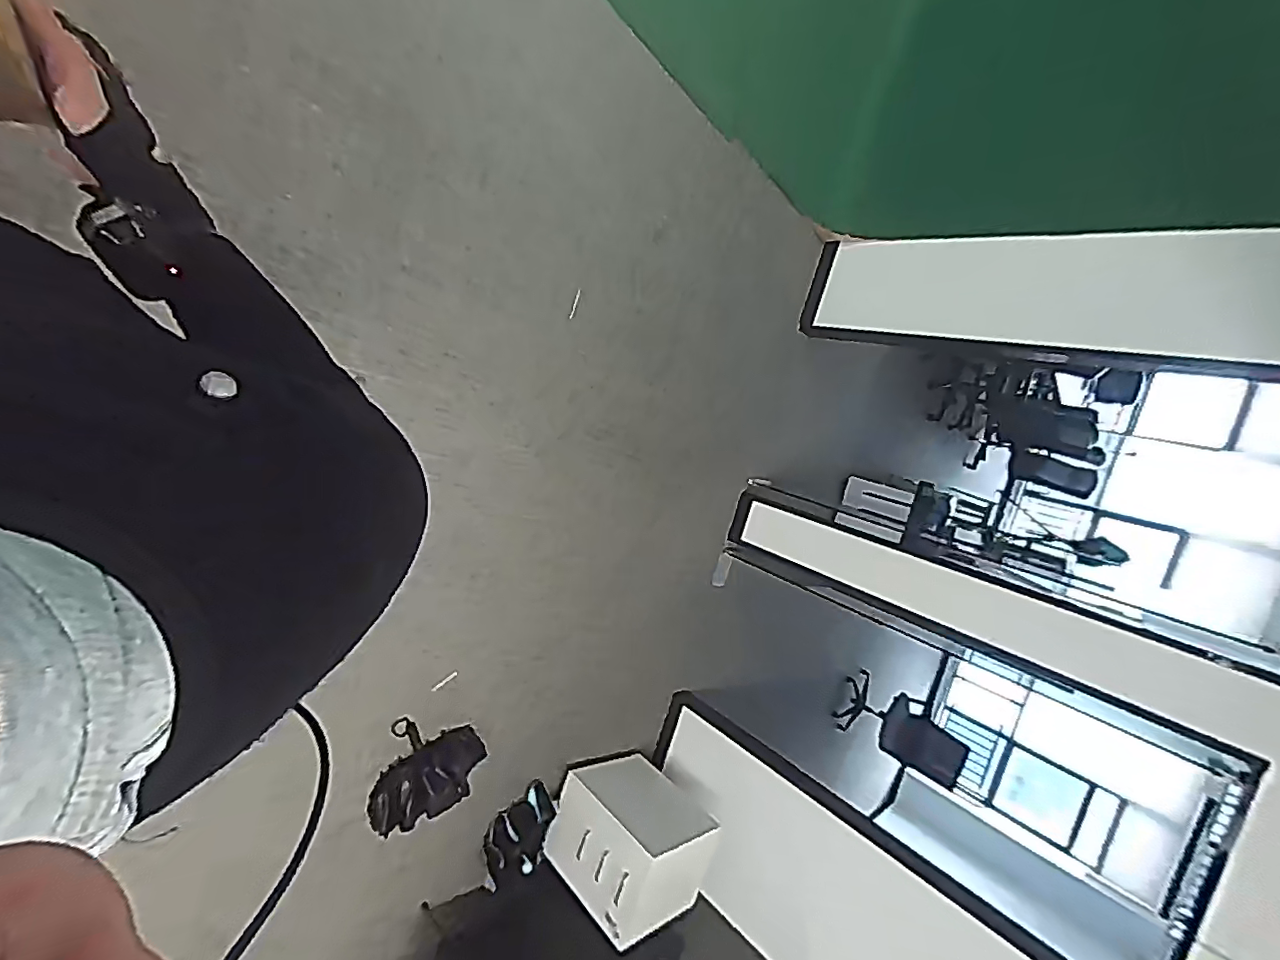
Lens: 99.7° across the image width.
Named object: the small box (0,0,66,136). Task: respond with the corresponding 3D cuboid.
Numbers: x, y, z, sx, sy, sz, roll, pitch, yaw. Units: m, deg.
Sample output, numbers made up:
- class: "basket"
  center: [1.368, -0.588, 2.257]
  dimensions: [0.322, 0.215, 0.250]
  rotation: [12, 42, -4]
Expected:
- class: "small box"
  center: [-0.472, -0.312, 0.293]
  dimensions: [0.179, 0.176, 0.168]
  rotation: [-17, 110, -37]
